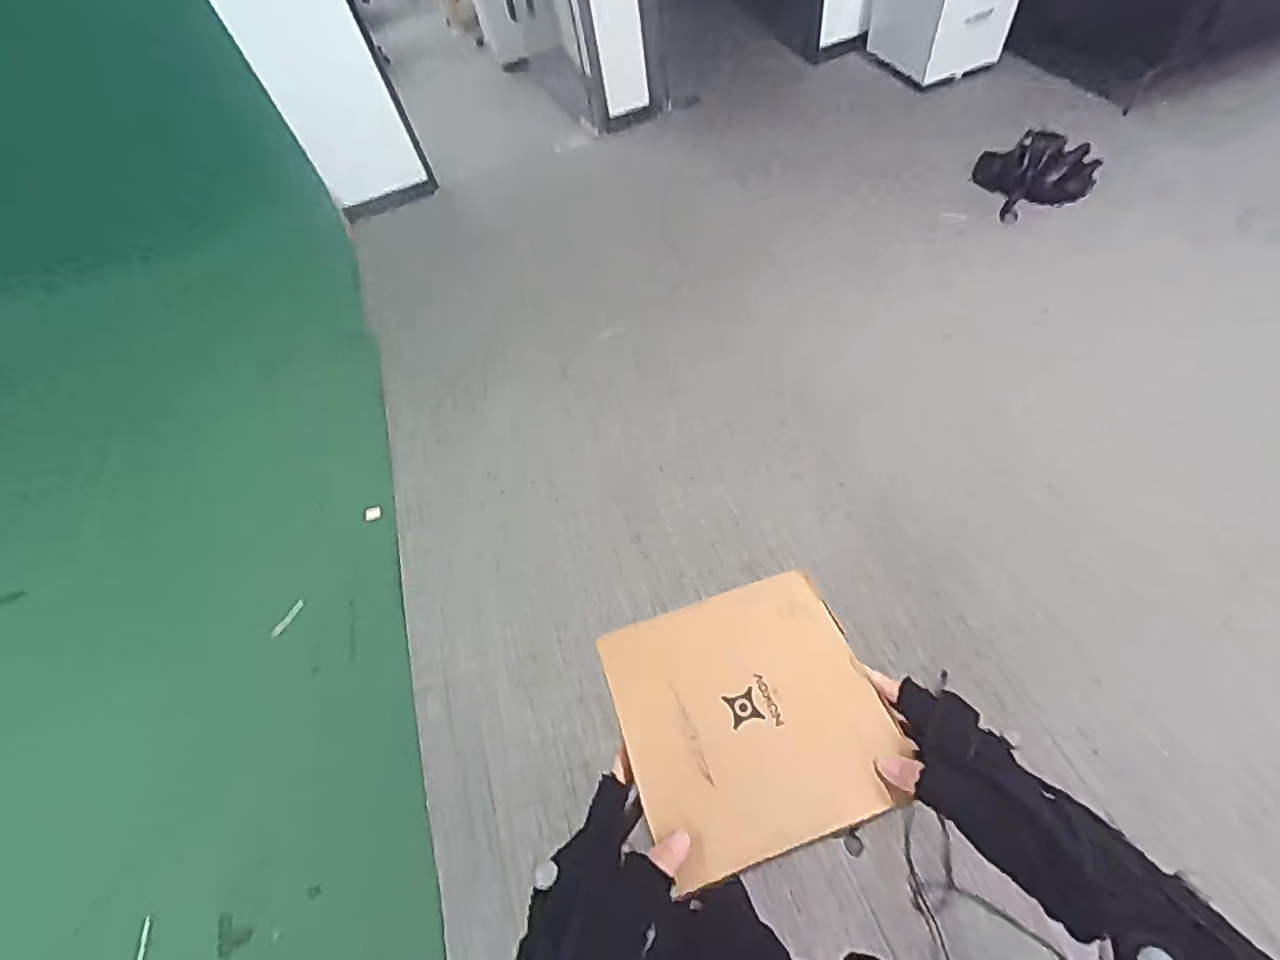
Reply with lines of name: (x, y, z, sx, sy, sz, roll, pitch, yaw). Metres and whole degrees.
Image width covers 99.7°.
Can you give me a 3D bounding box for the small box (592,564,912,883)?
small box: (0.075, 0.200, 0.441, 0.179, 0.176, 0.168, -18, 52, -7)
